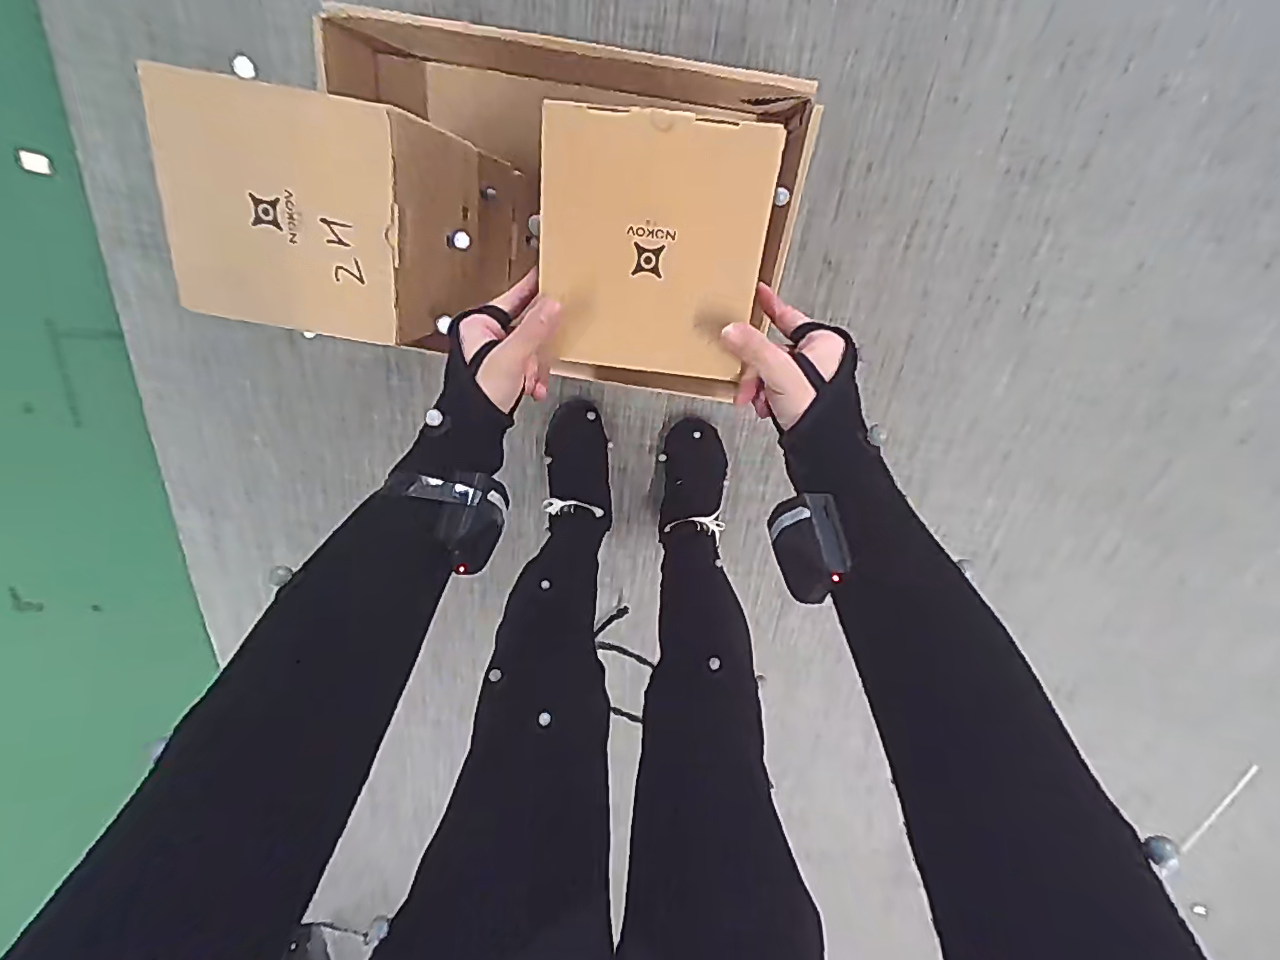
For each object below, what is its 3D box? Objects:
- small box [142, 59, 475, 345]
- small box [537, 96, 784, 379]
[{"bbox_3d":[-0.260,-0.226,0.469,0.179,0.176,0.168,10,114,-2],"label":"small box"},{"bbox_3d":[0.014,-0.202,0.465,0.168,0.176,0.179,7,115,2],"label":"small box"}]
